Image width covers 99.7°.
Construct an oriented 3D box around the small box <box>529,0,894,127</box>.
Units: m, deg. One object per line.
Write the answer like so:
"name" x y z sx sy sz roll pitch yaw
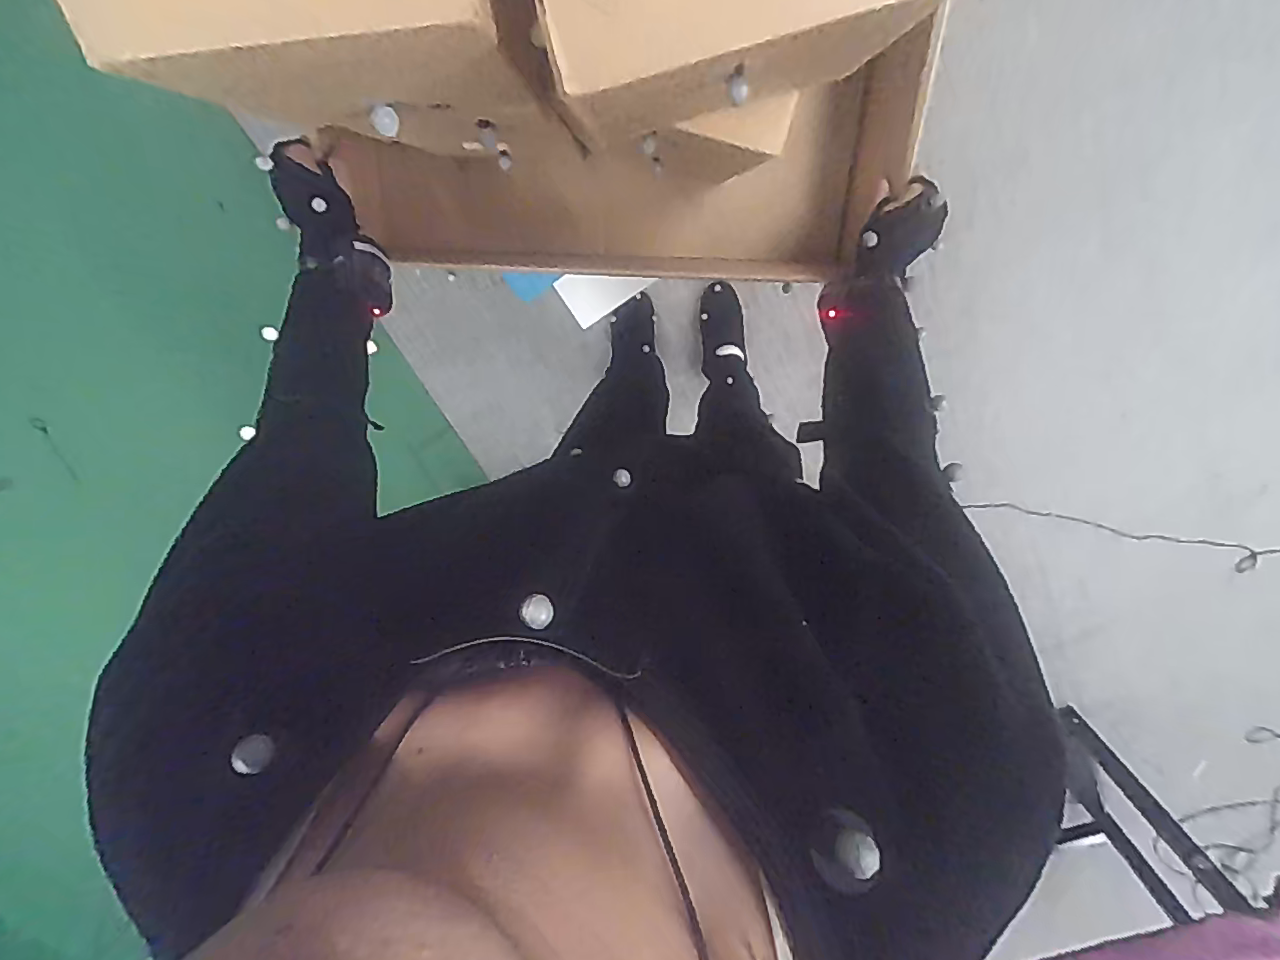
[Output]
"small box" 0.032 -0.295 0.263 0.179 0.176 0.168 -11 115 7
